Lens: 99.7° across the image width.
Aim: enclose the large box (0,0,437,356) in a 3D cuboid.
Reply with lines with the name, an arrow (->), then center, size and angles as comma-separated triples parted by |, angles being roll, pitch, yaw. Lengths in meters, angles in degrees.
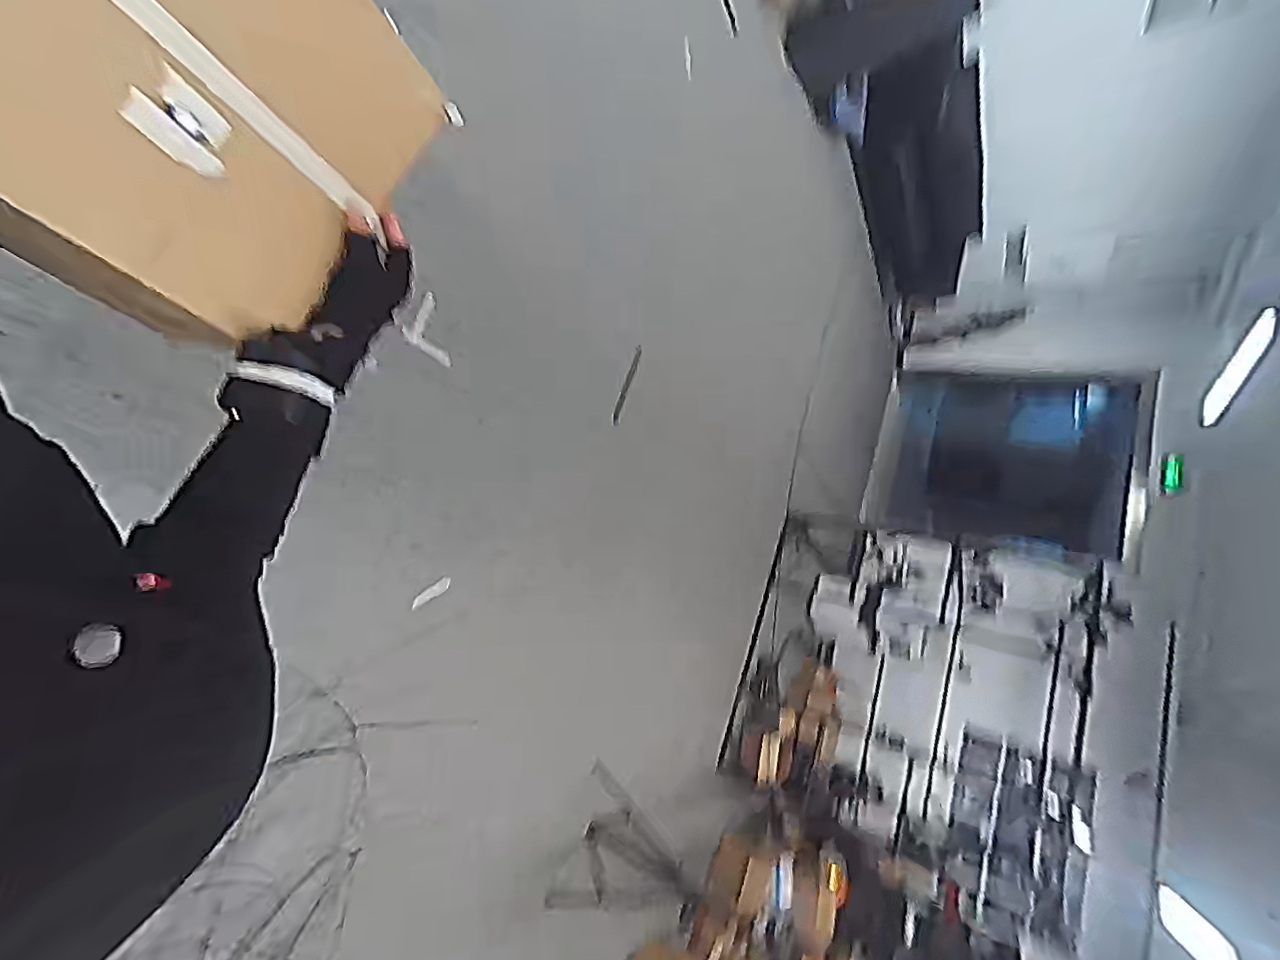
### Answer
large box -> -0.473, -0.354, 0.440 | 0.408, 0.320, 0.320 | 44, 67, -54
